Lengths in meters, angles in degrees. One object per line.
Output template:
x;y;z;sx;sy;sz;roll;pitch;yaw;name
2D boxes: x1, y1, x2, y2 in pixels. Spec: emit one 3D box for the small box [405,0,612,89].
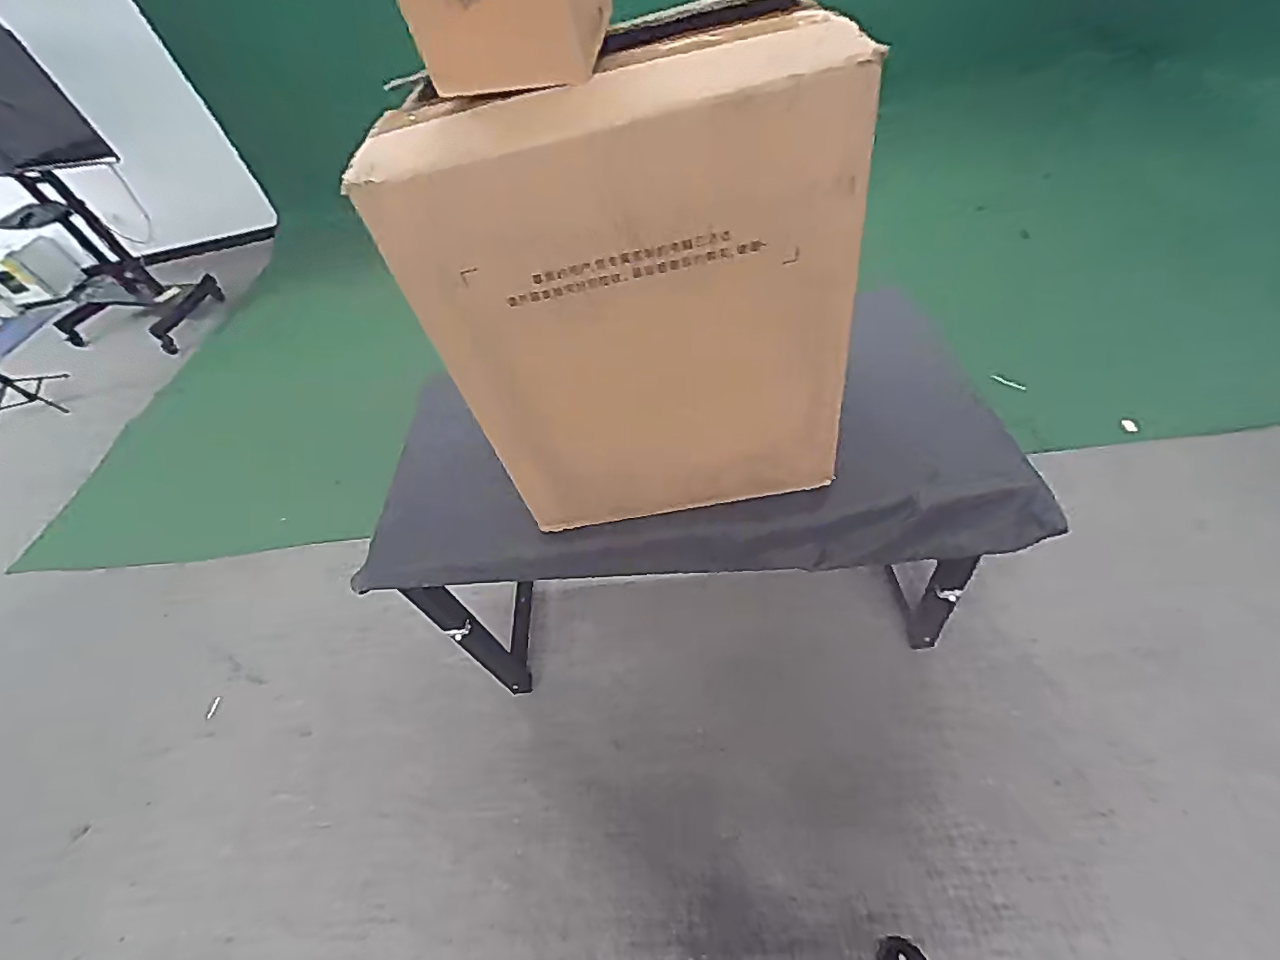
-0.141;-0.534;0.551;0.179;0.176;0.168;2;63;13;small box
